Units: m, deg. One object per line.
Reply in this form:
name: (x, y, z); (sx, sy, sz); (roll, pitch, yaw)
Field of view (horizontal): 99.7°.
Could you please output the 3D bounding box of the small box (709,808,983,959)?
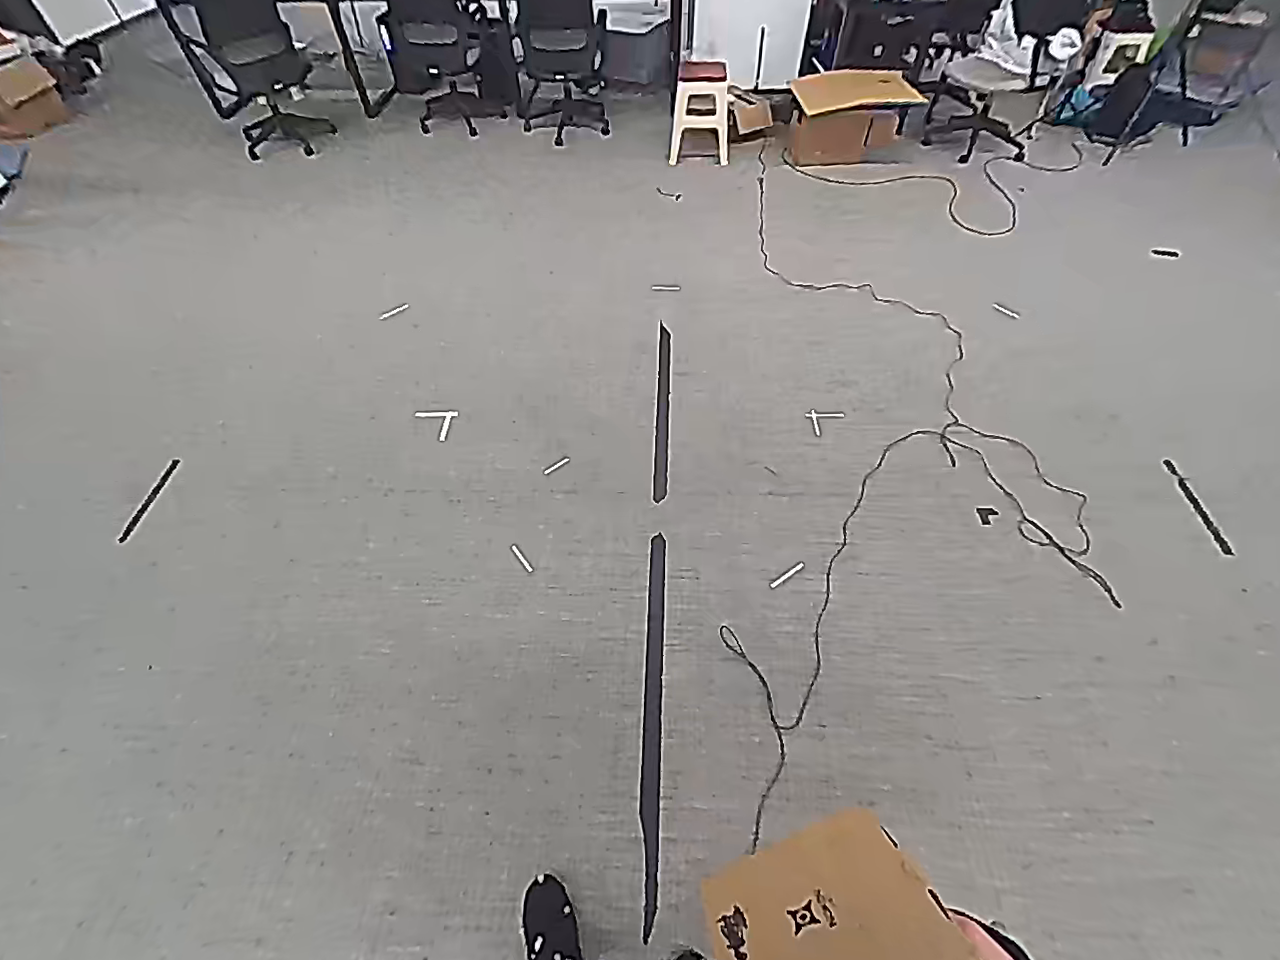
small box: (0.178, 0.425, 0.441); (0.179, 0.168, 0.176); (-24, 91, -2)
